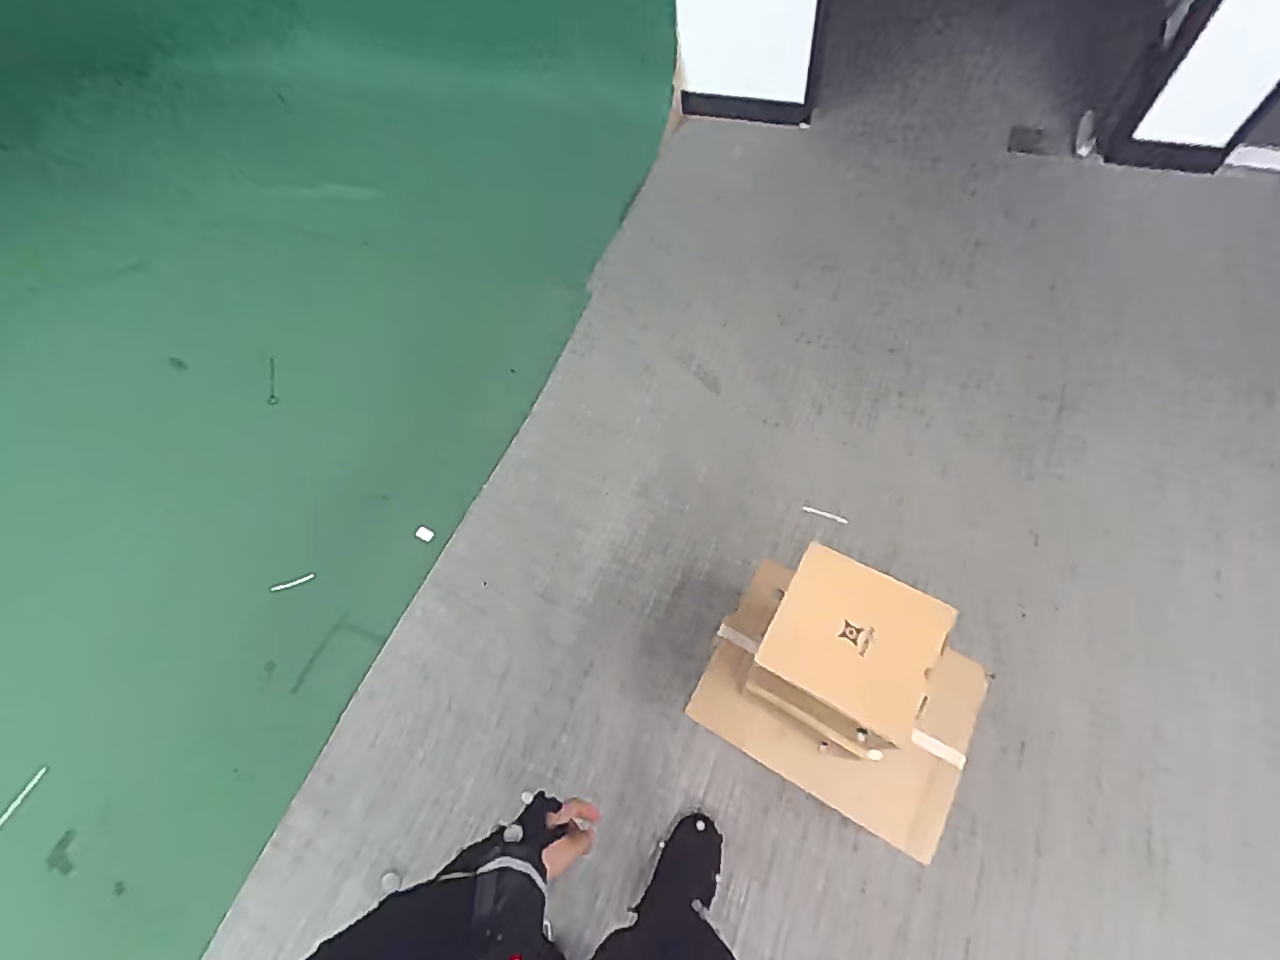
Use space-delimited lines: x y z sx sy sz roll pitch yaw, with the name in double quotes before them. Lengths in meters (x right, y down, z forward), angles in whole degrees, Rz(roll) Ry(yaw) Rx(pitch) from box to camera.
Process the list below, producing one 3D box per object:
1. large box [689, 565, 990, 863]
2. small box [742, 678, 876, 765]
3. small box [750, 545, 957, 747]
"large box" 0.338 0.416 1.017 0.408 0.320 0.320 26 71 18
"small box" 0.268 0.299 0.812 0.179 0.176 0.168 26 69 20
"small box" 0.250 0.213 0.675 0.179 0.176 0.168 26 69 18
